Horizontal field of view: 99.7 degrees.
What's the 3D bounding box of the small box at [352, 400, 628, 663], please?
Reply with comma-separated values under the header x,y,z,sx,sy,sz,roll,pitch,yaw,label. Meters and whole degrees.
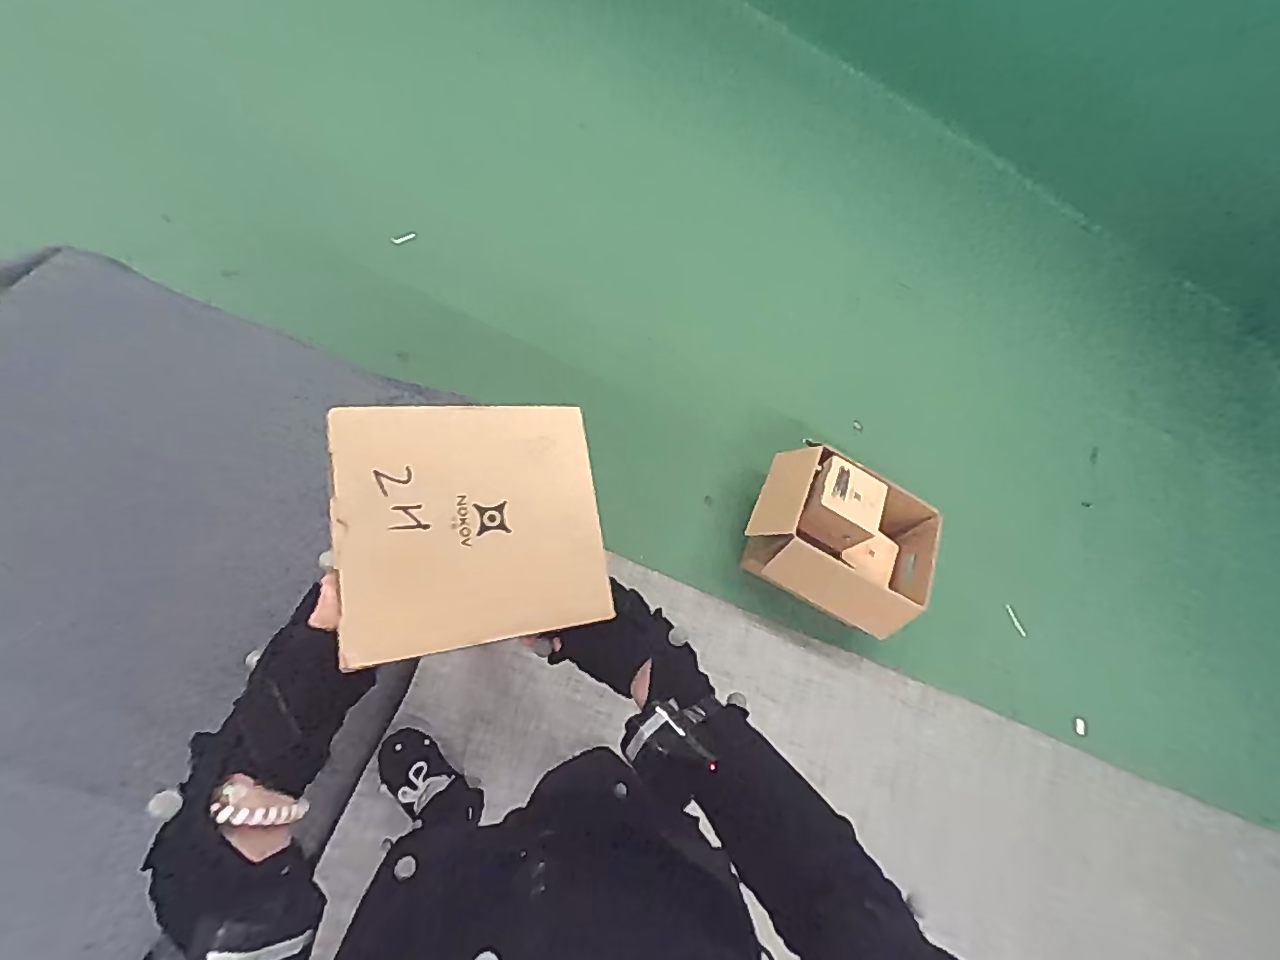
x,y,z,sx,sy,sz,roll,pitch,yaw,label
-0.132,0.046,0.437,0.179,0.176,0.168,-3,75,-27,small box
